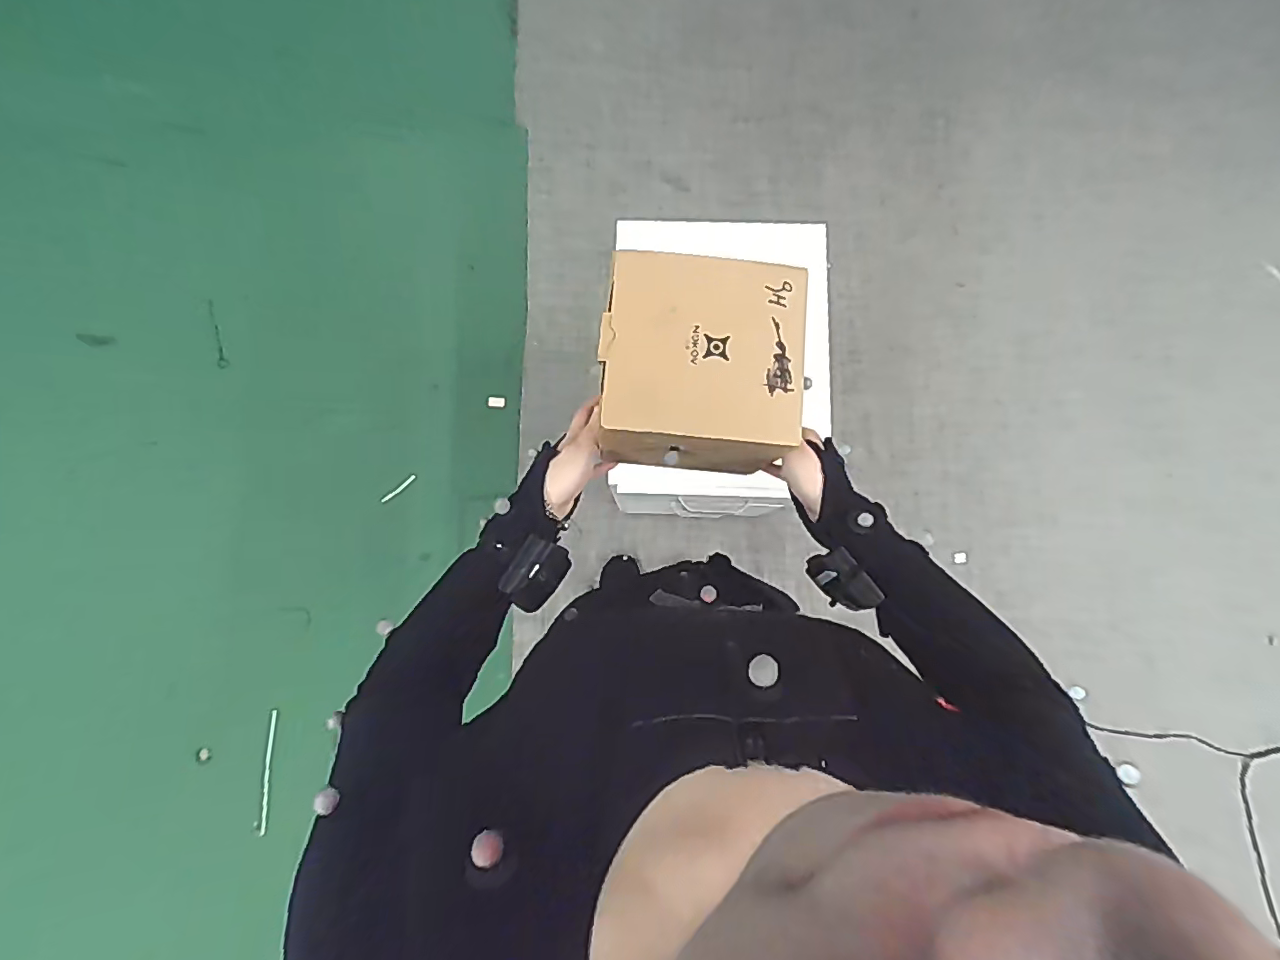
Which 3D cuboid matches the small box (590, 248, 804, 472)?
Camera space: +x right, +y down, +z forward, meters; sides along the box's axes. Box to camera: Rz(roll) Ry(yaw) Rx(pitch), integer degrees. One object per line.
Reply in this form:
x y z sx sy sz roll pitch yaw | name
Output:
0.049 -0.105 0.543 0.179 0.176 0.168 5 82 -2 | small box
